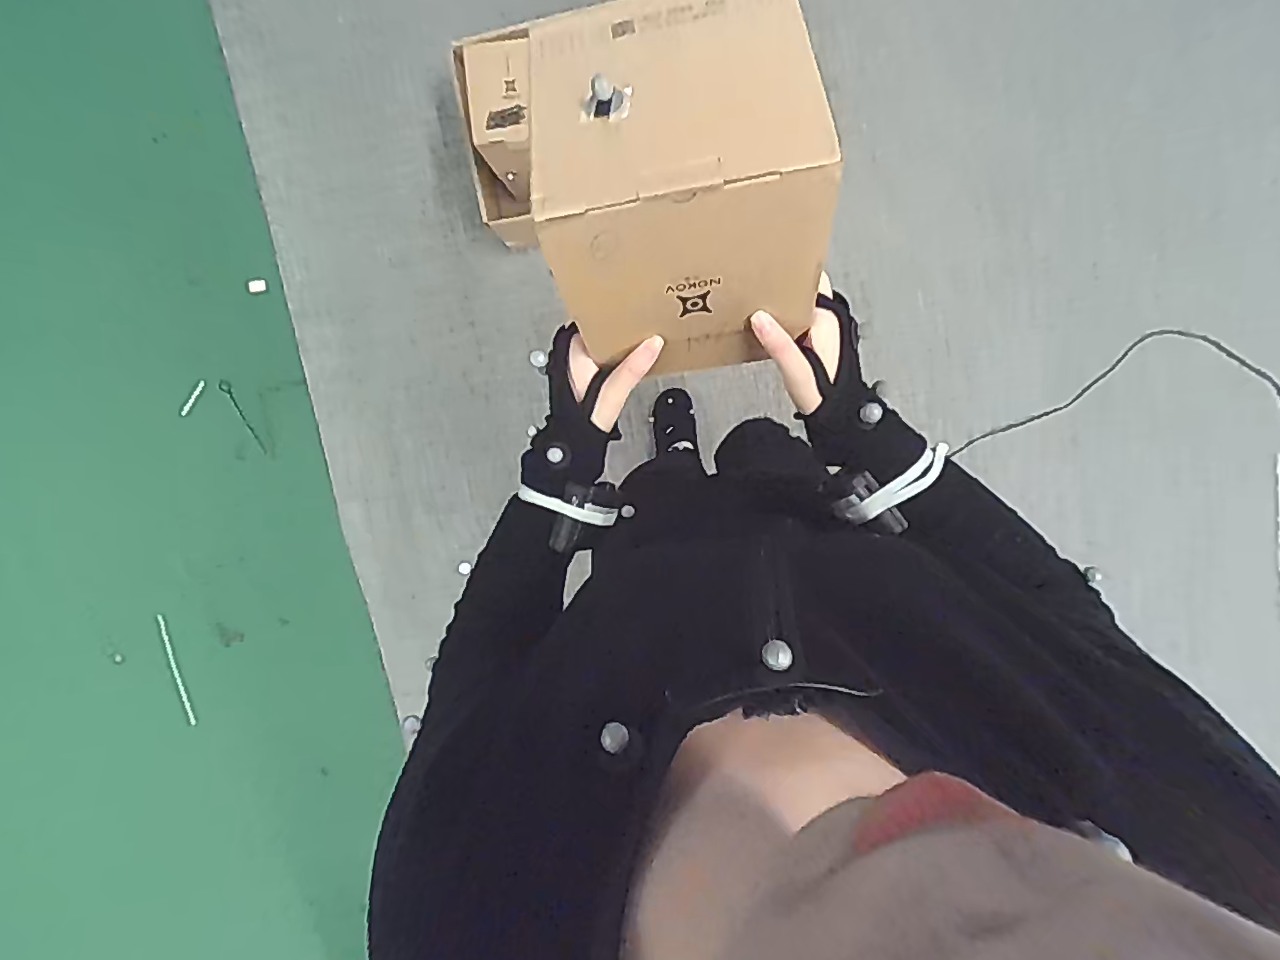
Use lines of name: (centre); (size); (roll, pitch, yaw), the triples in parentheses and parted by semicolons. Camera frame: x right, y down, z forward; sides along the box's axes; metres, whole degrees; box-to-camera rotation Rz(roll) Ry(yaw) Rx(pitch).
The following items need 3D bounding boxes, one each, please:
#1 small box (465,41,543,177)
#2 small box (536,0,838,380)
small box: (-0.239, -0.742, 1.104); (0.168, 0.176, 0.179); (-4, 97, 3)
small box: (0.028, -0.198, 0.389); (0.168, 0.179, 0.176); (-6, 69, 7)
